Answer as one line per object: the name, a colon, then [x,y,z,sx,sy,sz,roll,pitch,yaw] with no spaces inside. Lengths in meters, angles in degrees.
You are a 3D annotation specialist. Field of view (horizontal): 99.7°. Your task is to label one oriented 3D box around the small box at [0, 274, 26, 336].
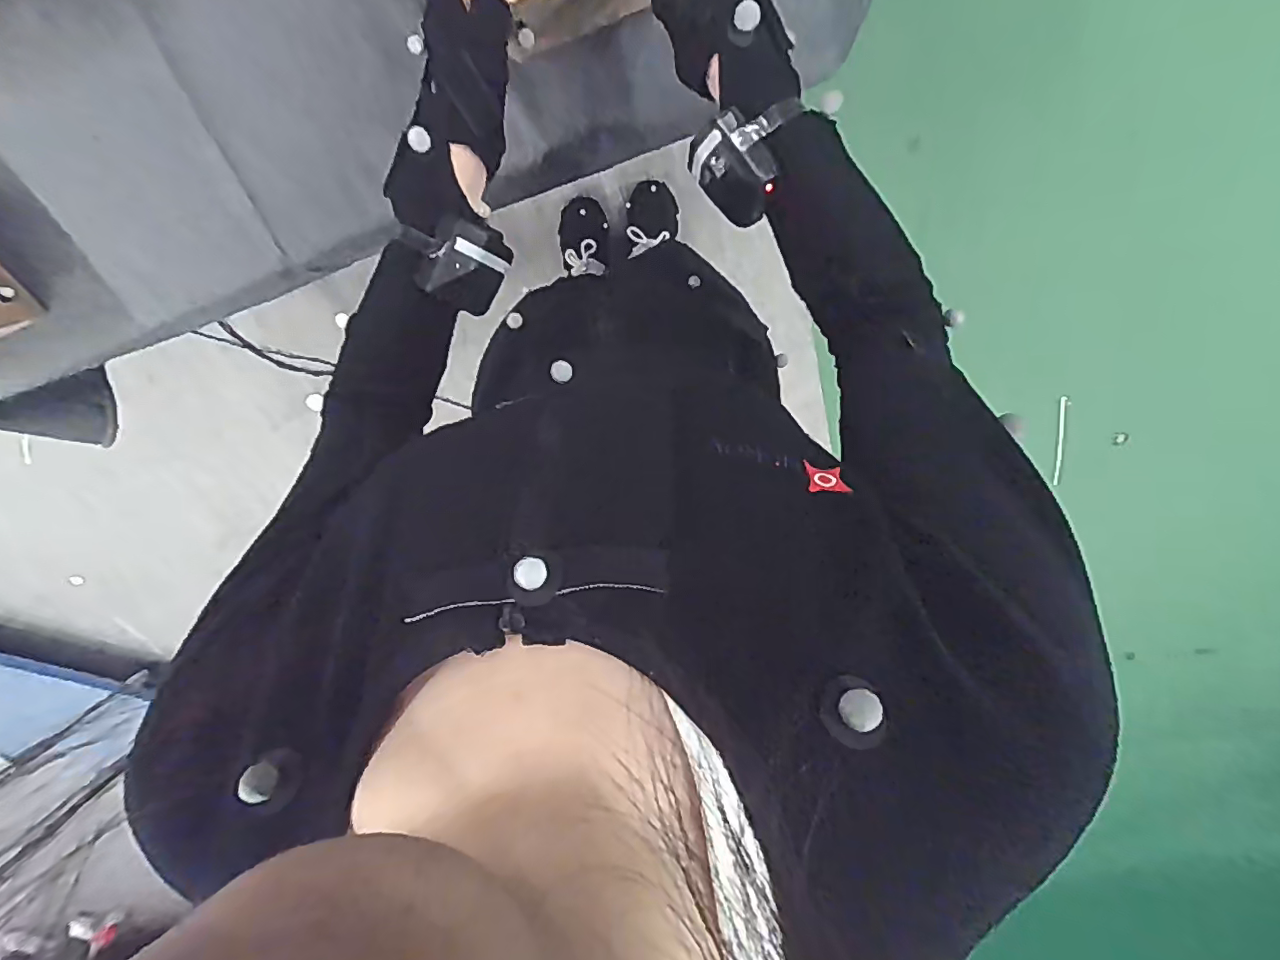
small box: [-0.826,-0.199,0.561,0.179,0.176,0.168,-18,120,9]
